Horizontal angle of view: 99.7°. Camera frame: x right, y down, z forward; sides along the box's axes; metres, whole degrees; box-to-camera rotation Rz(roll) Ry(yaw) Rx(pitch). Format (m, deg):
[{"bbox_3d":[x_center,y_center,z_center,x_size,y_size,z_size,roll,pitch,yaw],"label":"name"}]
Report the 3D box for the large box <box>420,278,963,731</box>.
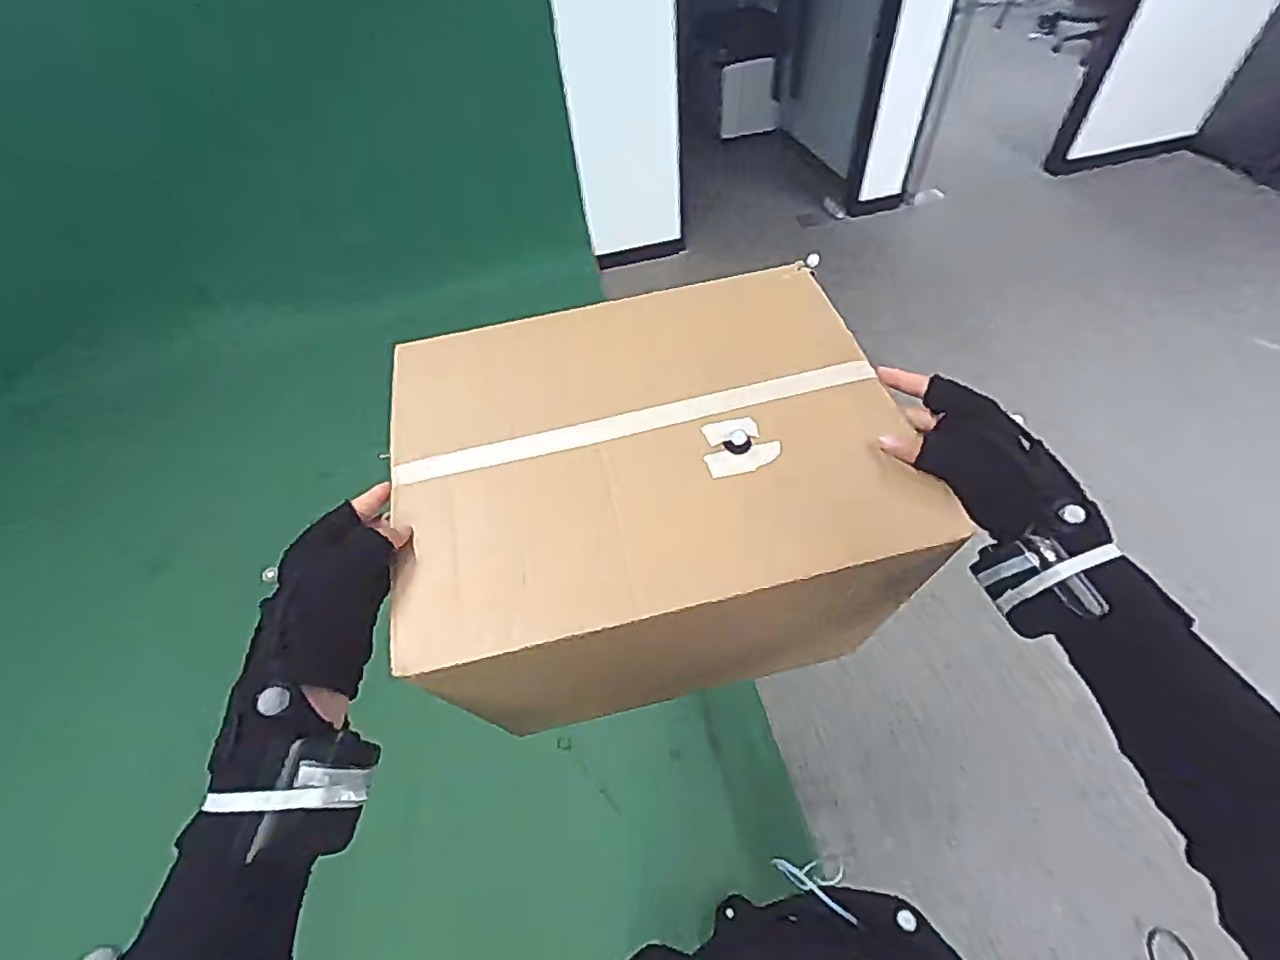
[{"bbox_3d":[0.020,0.039,0.582,0.408,0.320,0.320,-12,58,-4],"label":"large box"}]
